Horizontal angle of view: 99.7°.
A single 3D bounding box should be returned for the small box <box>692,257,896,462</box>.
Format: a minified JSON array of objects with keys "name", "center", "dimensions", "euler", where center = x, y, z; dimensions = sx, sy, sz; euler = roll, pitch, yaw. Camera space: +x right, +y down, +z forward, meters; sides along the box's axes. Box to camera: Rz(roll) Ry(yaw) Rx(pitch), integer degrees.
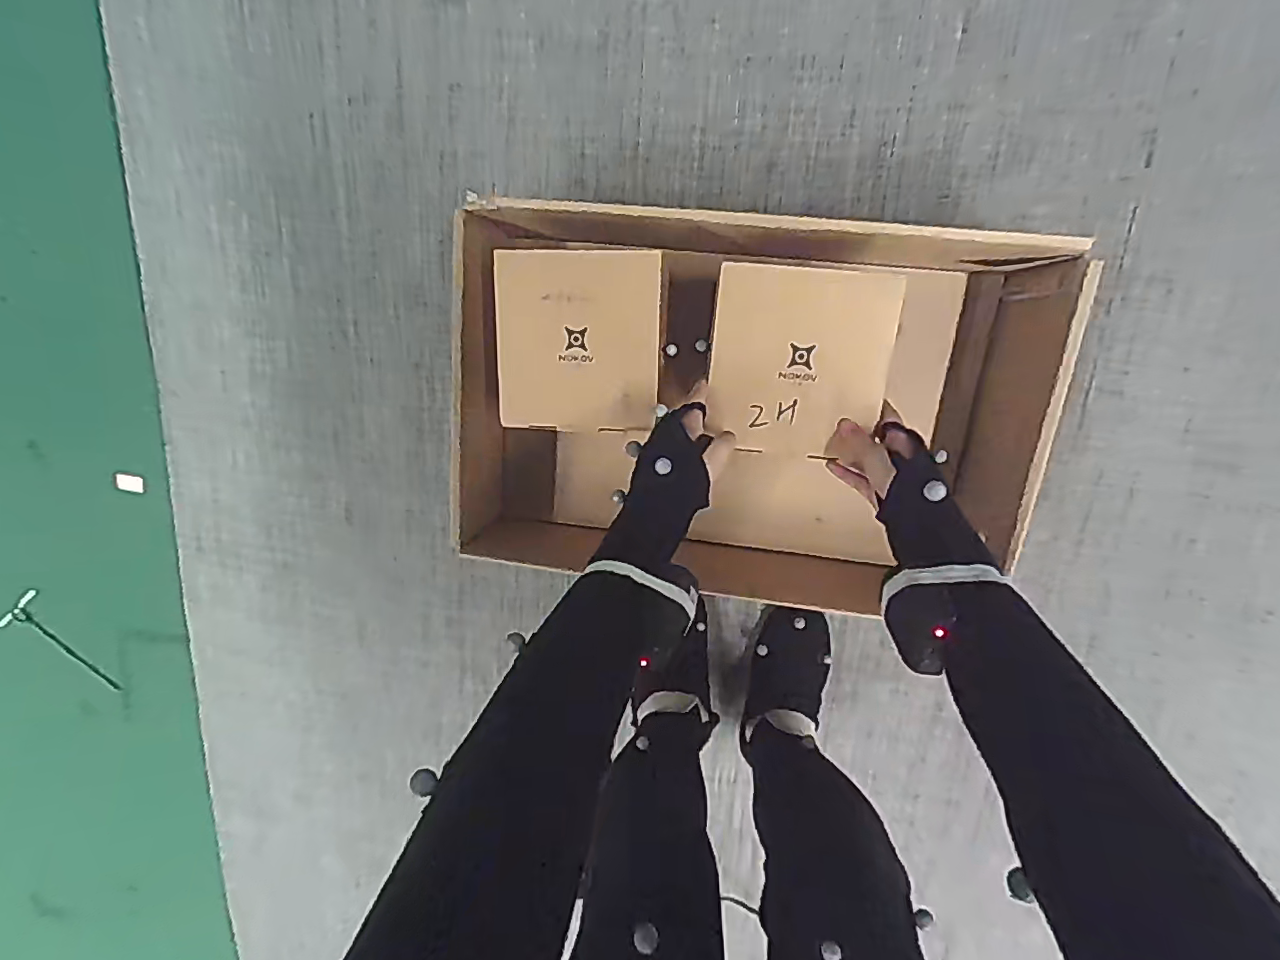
[{"name":"small box","center":[0.148,-0.129,0.580],"dimensions":[0.168,0.176,0.179],"euler":[6,106,6]}]
